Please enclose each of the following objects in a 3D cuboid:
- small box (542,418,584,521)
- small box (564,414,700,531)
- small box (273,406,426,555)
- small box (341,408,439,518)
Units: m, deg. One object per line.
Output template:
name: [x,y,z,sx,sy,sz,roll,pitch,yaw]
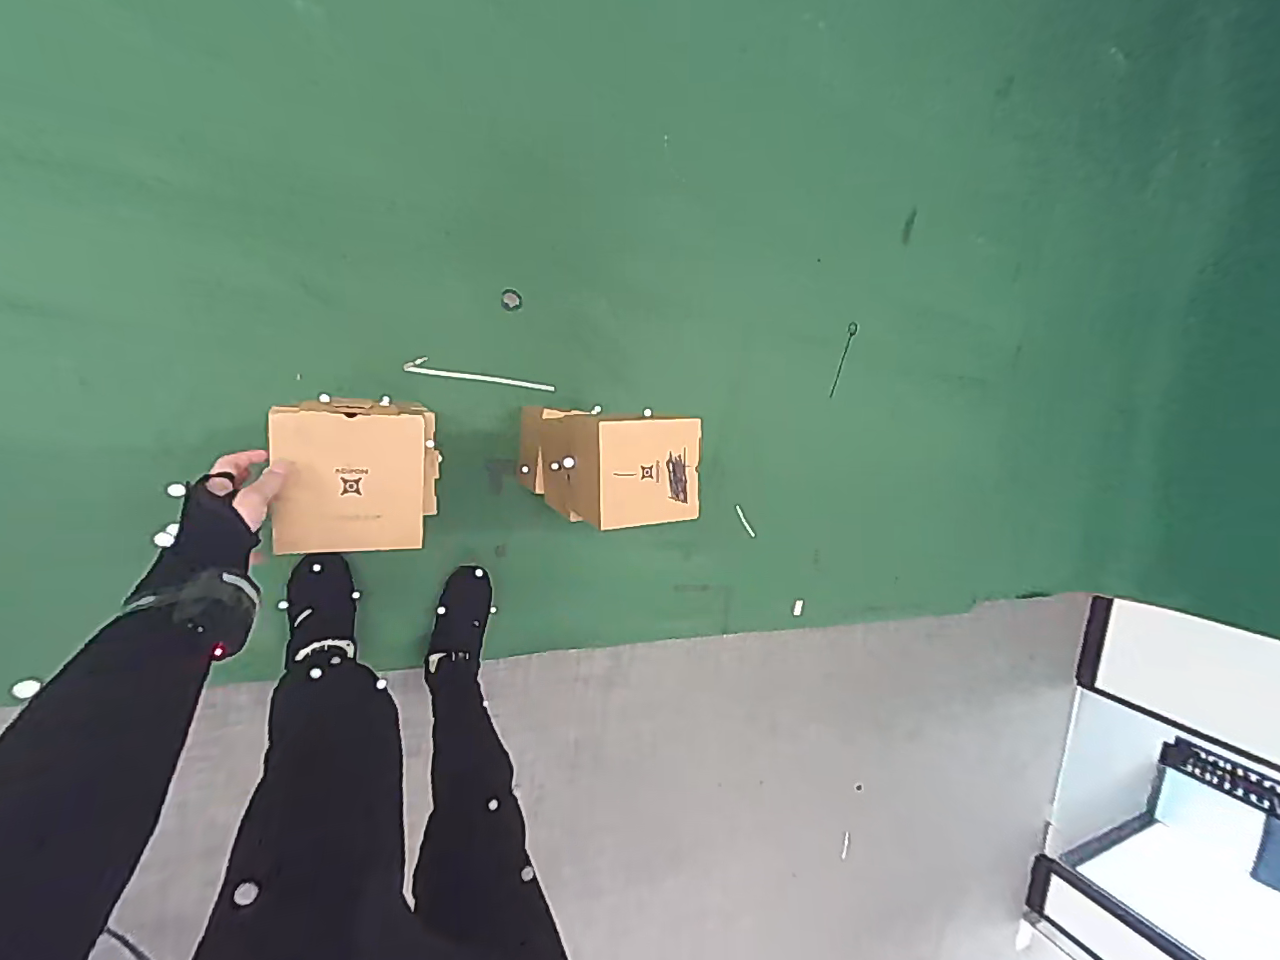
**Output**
small box: [-0.087,-0.032,1.050,0.168,0.176,0.179,-8,104,-24]
small box: [-0.018,-0.023,0.899,0.179,0.176,0.168,-5,101,-24]
small box: [-0.384,-0.007,0.732,0.168,0.176,0.179,1,99,-23]
small box: [-0.433,-0.031,0.888,0.179,0.176,0.168,-2,99,-25]
